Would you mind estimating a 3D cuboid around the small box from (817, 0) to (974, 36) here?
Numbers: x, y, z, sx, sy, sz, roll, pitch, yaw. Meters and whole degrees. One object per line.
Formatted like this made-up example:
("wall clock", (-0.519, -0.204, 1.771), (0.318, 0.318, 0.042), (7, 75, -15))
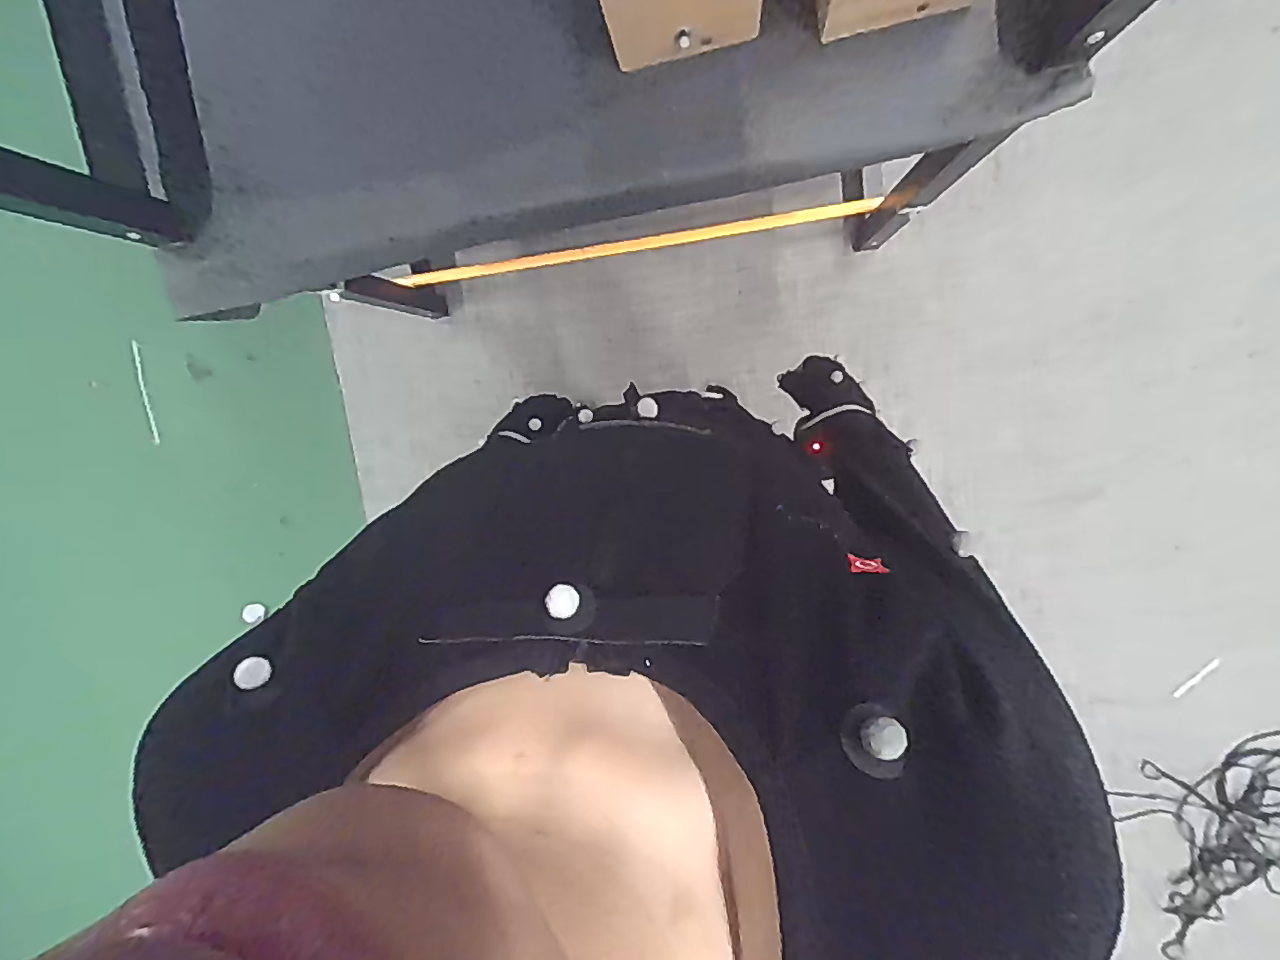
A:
("small box", (0.264, -0.576, 0.520), (0.168, 0.176, 0.179), (-7, 98, 9))
